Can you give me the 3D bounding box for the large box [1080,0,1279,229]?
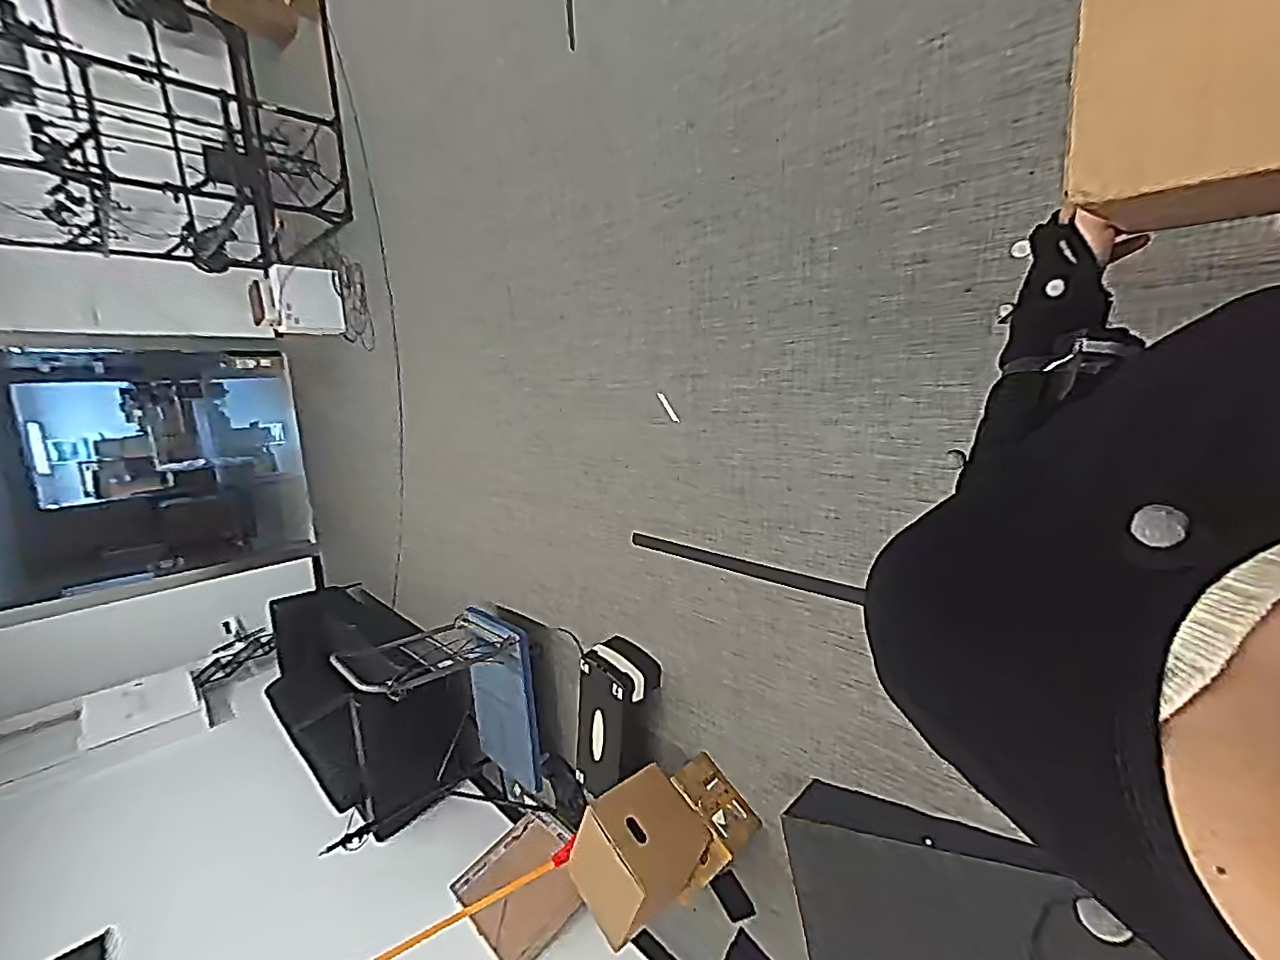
[{"bbox_3d":[0.437,-0.306,0.193,0.408,0.320,0.320,8,111,43],"label":"large box"}]
